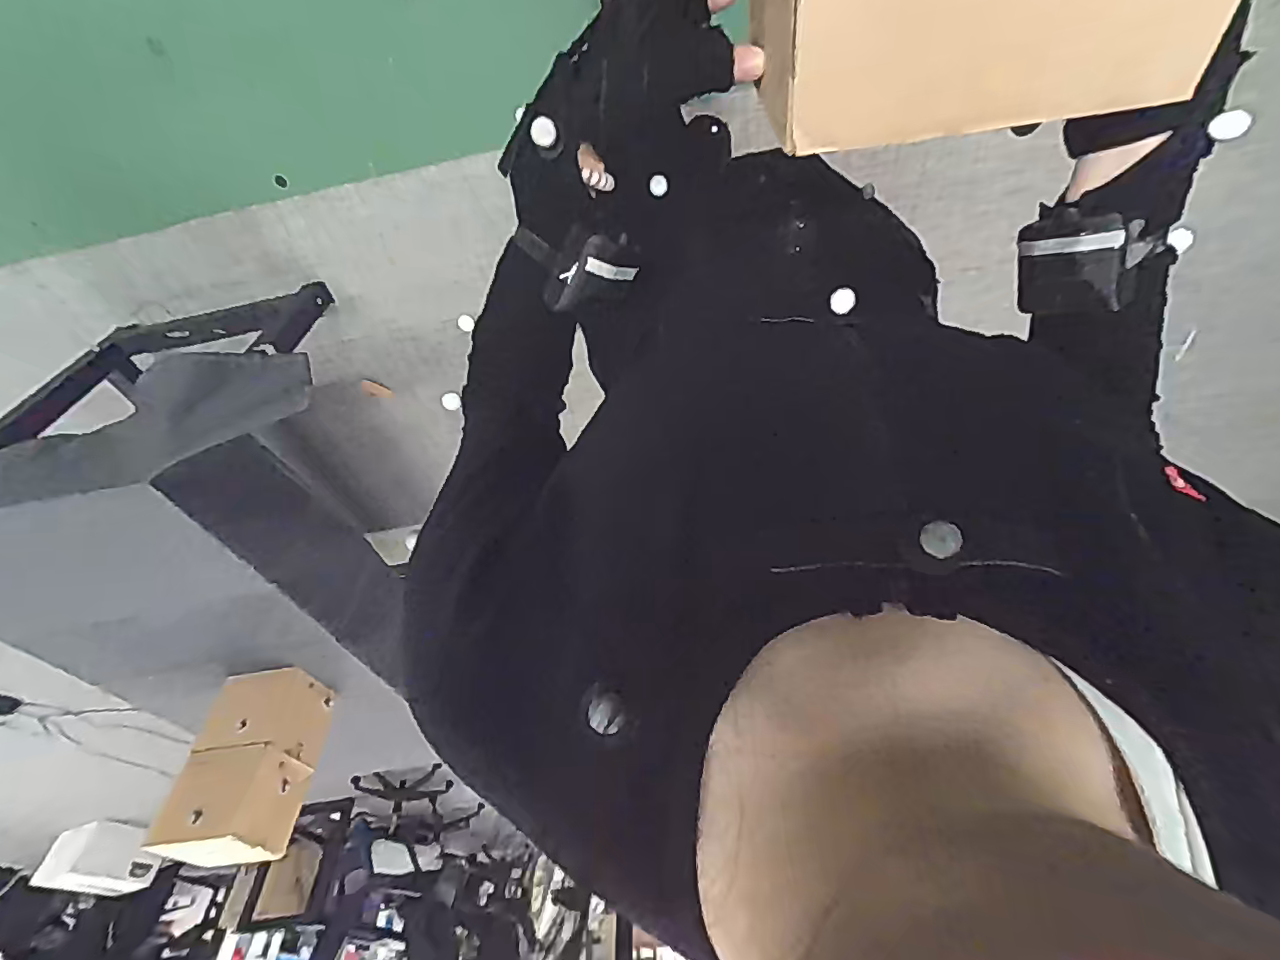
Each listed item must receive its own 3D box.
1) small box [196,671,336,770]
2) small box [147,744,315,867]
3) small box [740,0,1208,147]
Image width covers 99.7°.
[{"bbox_3d":[-0.815,0.543,1.208,0.179,0.176,0.168,-10,133,6],"label":"small box"},{"bbox_3d":[-0.806,0.654,1.090,0.179,0.176,0.168,-10,133,5],"label":"small box"},{"bbox_3d":[0.142,-0.281,0.248,0.179,0.176,0.168,-3,137,8],"label":"small box"}]
